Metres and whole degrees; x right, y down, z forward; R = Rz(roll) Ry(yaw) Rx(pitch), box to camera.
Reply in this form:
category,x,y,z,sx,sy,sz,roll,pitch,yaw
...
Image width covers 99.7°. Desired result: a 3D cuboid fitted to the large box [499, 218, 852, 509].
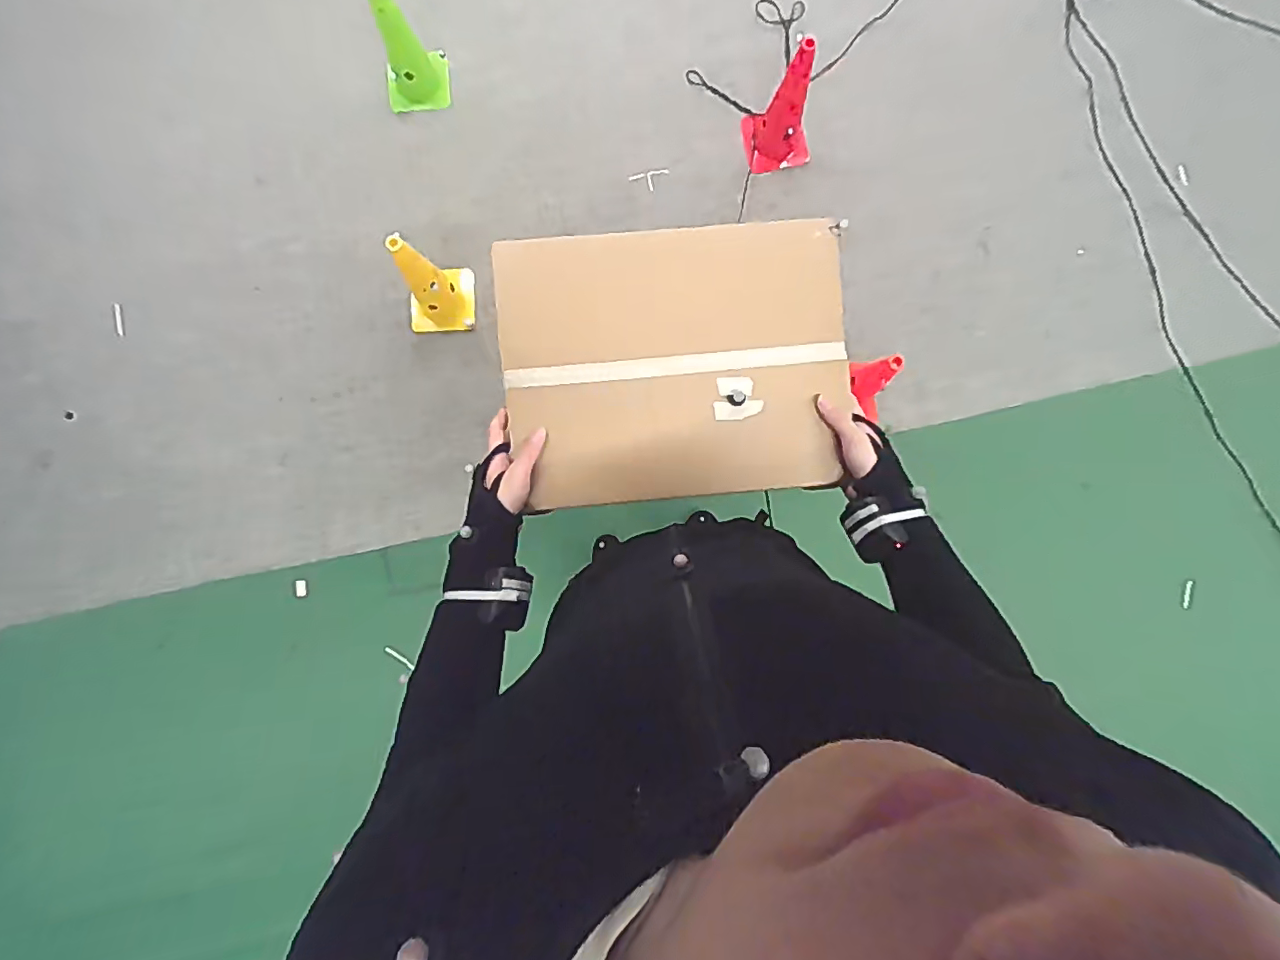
category,x,y,z,sx,sy,sz,roll,pitch,yaw
large box,0.039,-0.145,0.791,0.408,0.320,0.320,-6,94,-2

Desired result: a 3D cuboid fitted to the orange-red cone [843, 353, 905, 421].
category,x,y,z,sx,sy,sz,roll,pitch,yaw
orange-red cone,0.639,-0.290,1.518,0.199,0.360,0.198,-5,86,-2

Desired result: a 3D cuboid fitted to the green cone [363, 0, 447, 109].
category,x,y,z,sx,sy,sz,roll,pitch,yaw
green cone,-0.737,-1.324,1.593,0.200,0.368,0.202,-7,87,-1
